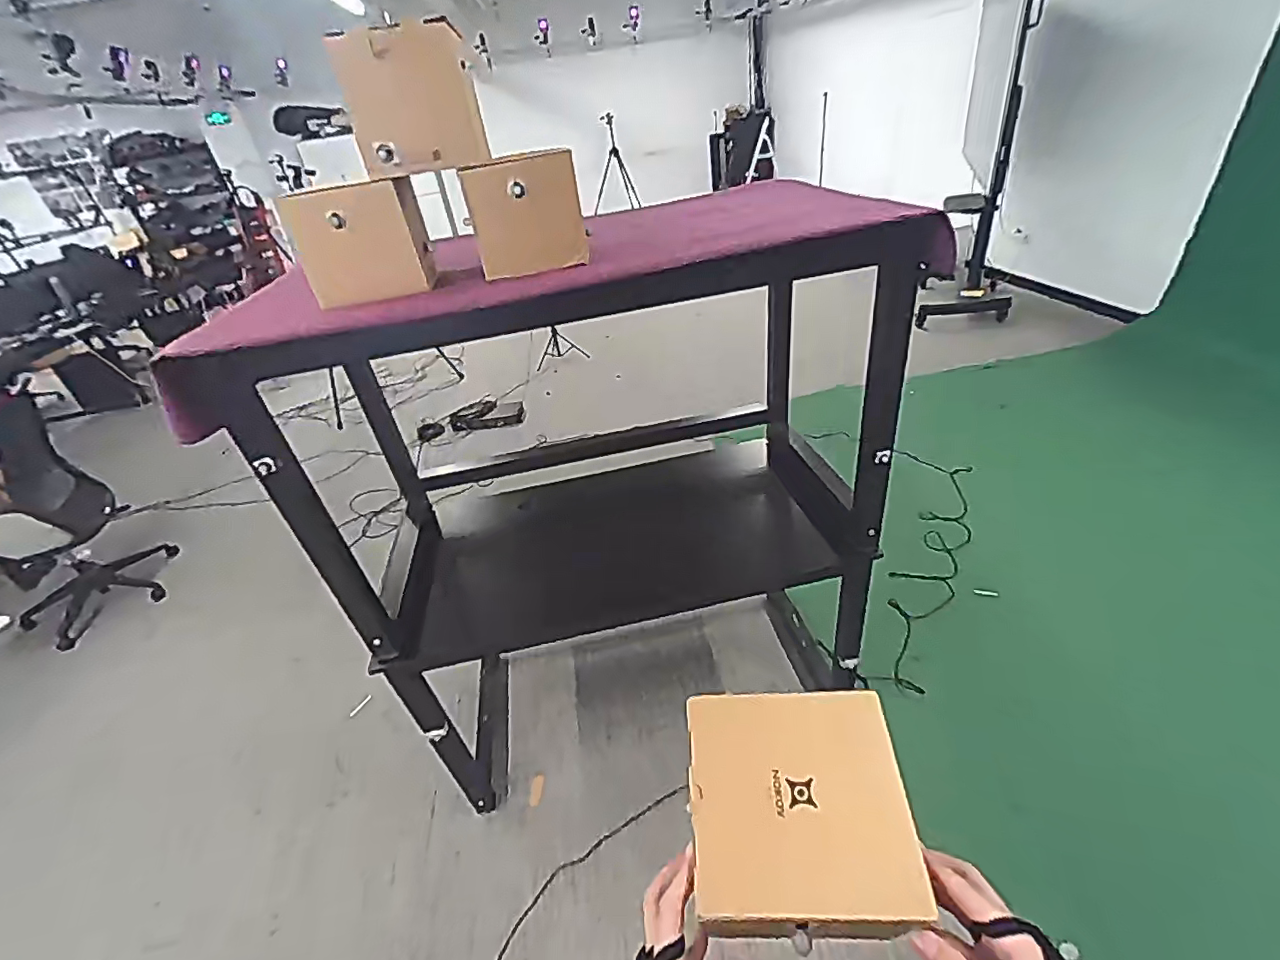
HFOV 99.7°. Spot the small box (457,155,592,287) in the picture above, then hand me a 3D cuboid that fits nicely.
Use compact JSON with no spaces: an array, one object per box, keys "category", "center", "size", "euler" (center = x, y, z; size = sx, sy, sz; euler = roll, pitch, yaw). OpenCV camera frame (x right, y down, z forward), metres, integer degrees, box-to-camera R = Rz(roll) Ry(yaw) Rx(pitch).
[{"category":"small box","center":[-0.187,-0.436,0.912],"size":[0.179,0.176,0.168],"euler":[-12,34,-3]}]

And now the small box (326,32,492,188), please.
[{"category":"small box","center":[-0.334,-0.553,0.825],"size":[0.168,0.176,0.179],"euler":[-10,33,-2]}]

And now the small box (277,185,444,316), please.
[{"category":"small box","center":[-0.450,-0.387,0.903],"size":[0.179,0.176,0.168],"euler":[-13,35,-5]}]

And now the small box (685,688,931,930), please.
[{"category":"small box","center":[0.140,0.310,0.508],"size":[0.179,0.176,0.168],"euler":[-7,47,9]}]
